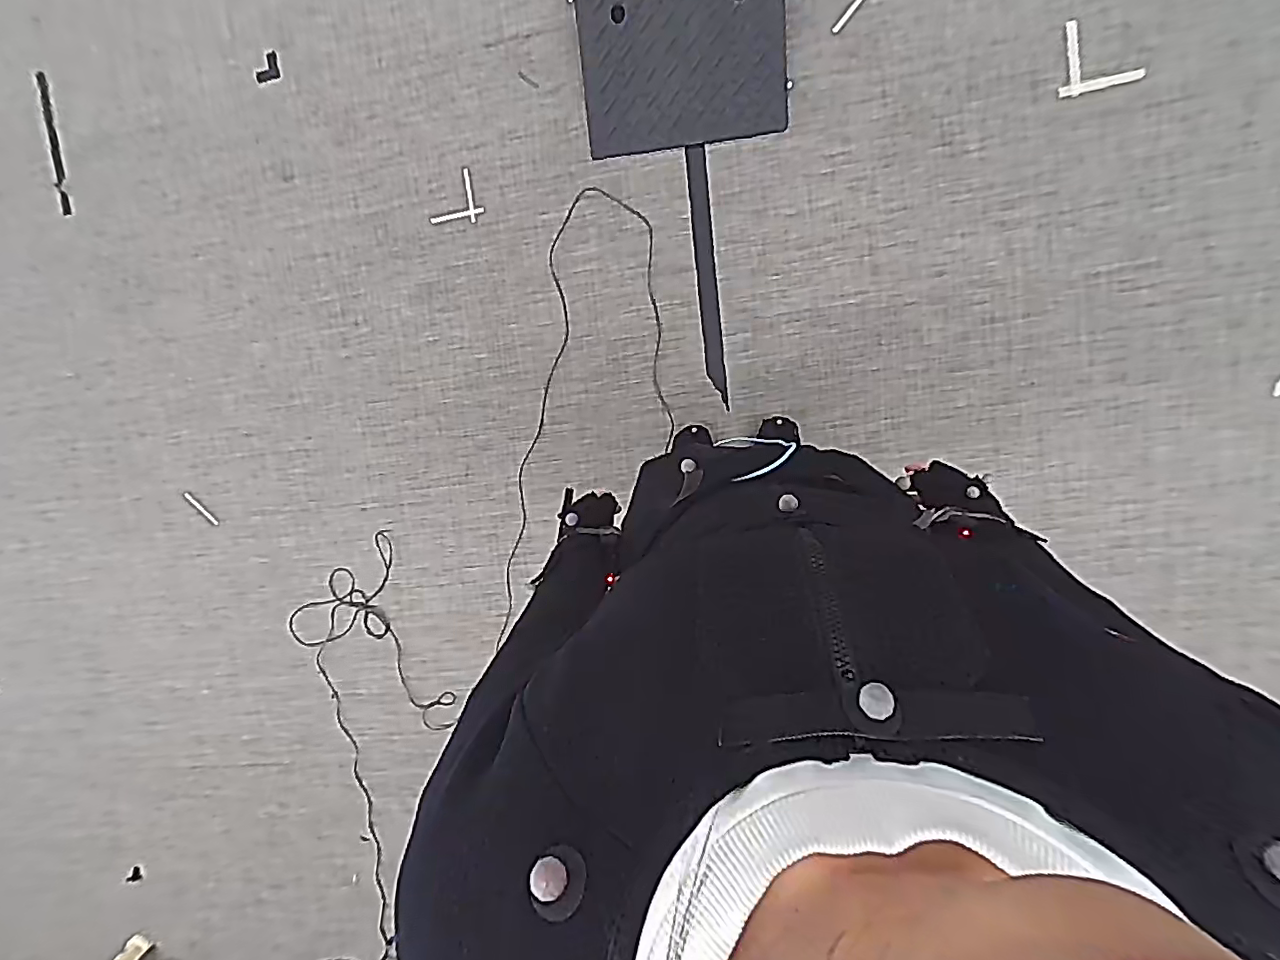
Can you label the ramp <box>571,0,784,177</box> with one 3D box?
[{"bbox_3d":[0.061,-1.291,1.255,0.509,0.206,0.991,-7,95,8],"label":"ramp"}]
